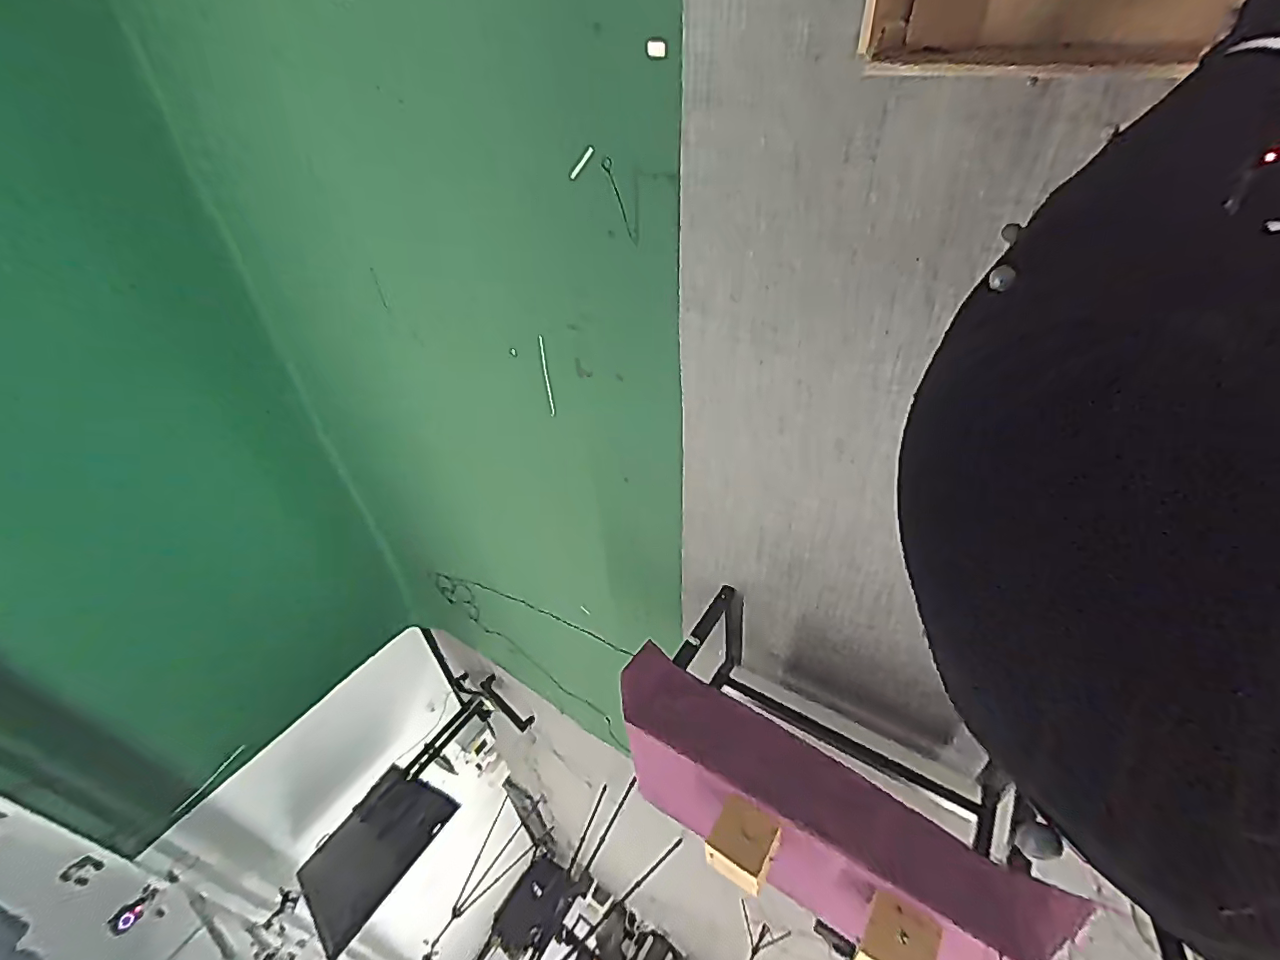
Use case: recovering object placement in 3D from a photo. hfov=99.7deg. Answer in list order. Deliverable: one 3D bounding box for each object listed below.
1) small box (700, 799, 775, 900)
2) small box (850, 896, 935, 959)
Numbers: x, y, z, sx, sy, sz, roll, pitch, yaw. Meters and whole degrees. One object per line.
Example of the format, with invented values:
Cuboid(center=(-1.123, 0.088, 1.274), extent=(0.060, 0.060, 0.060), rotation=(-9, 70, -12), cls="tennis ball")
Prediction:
Cuboid(center=(0.301, 1.125, 1.656), extent=(0.179, 0.176, 0.168), rotation=(18, 133, 30), cls="small box")
Cuboid(center=(0.668, 1.260, 1.439), extent=(0.168, 0.176, 0.179), rotation=(20, 134, 30), cls="small box")
